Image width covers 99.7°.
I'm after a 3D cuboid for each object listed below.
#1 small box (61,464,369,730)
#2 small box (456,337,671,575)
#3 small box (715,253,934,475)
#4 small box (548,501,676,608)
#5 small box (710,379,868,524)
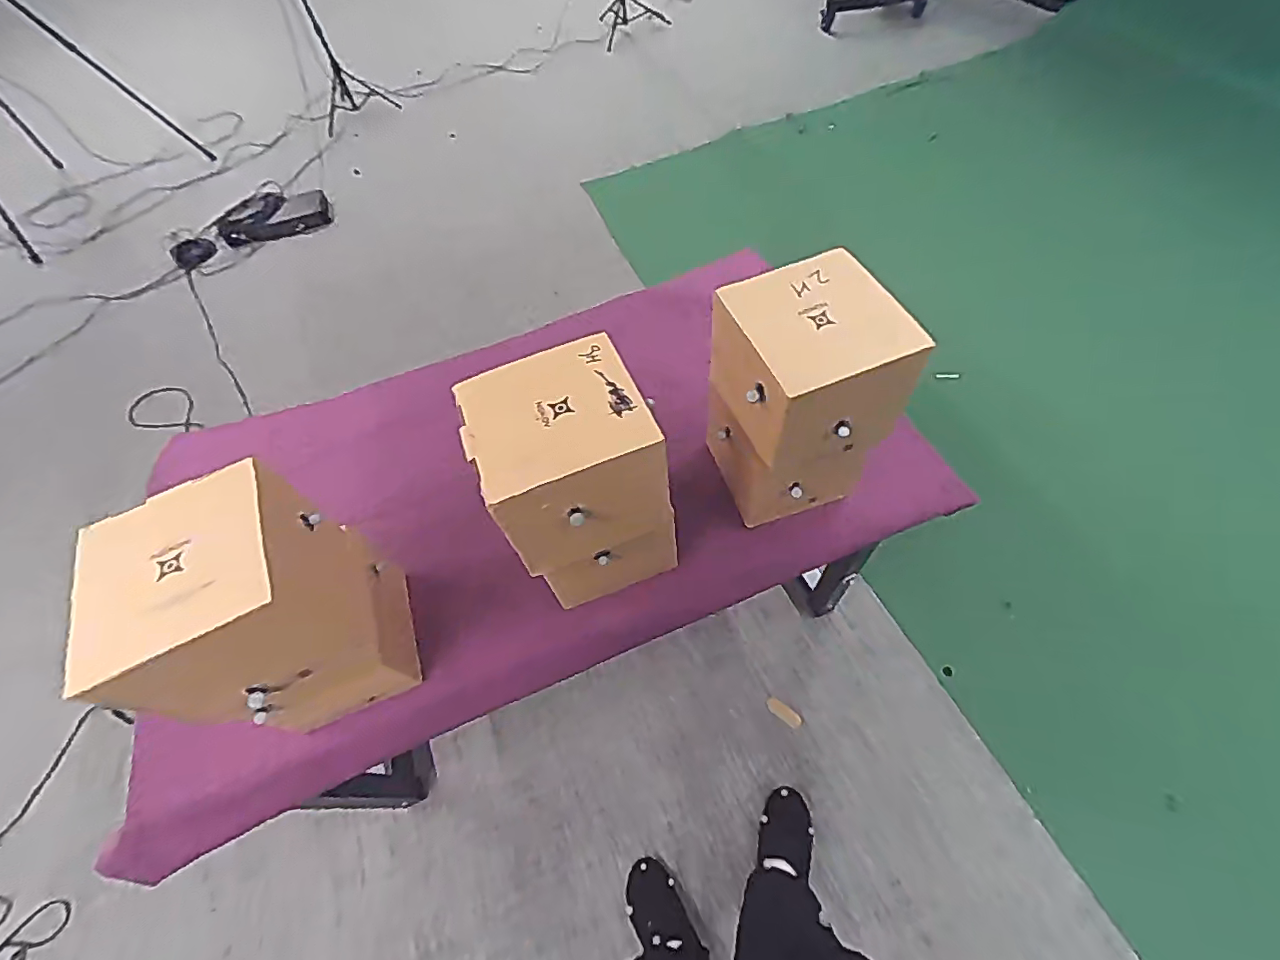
[{"bbox_3d":[-0.404,0.122,0.542,0.168,0.176,0.179,-26,59,-10],"label":"small box"},{"bbox_3d":[-0.076,-0.019,0.599,0.179,0.176,0.168,-22,58,-7],"label":"small box"},{"bbox_3d":[0.198,-0.126,0.639,0.168,0.176,0.179,-20,58,-7],"label":"small box"},{"bbox_3d":[-0.059,0.054,0.746,0.179,0.176,0.168,-20,58,-8],"label":"small box"},{"bbox_3d":[0.208,-0.054,0.788,0.168,0.176,0.179,-17,58,-5],"label":"small box"}]
